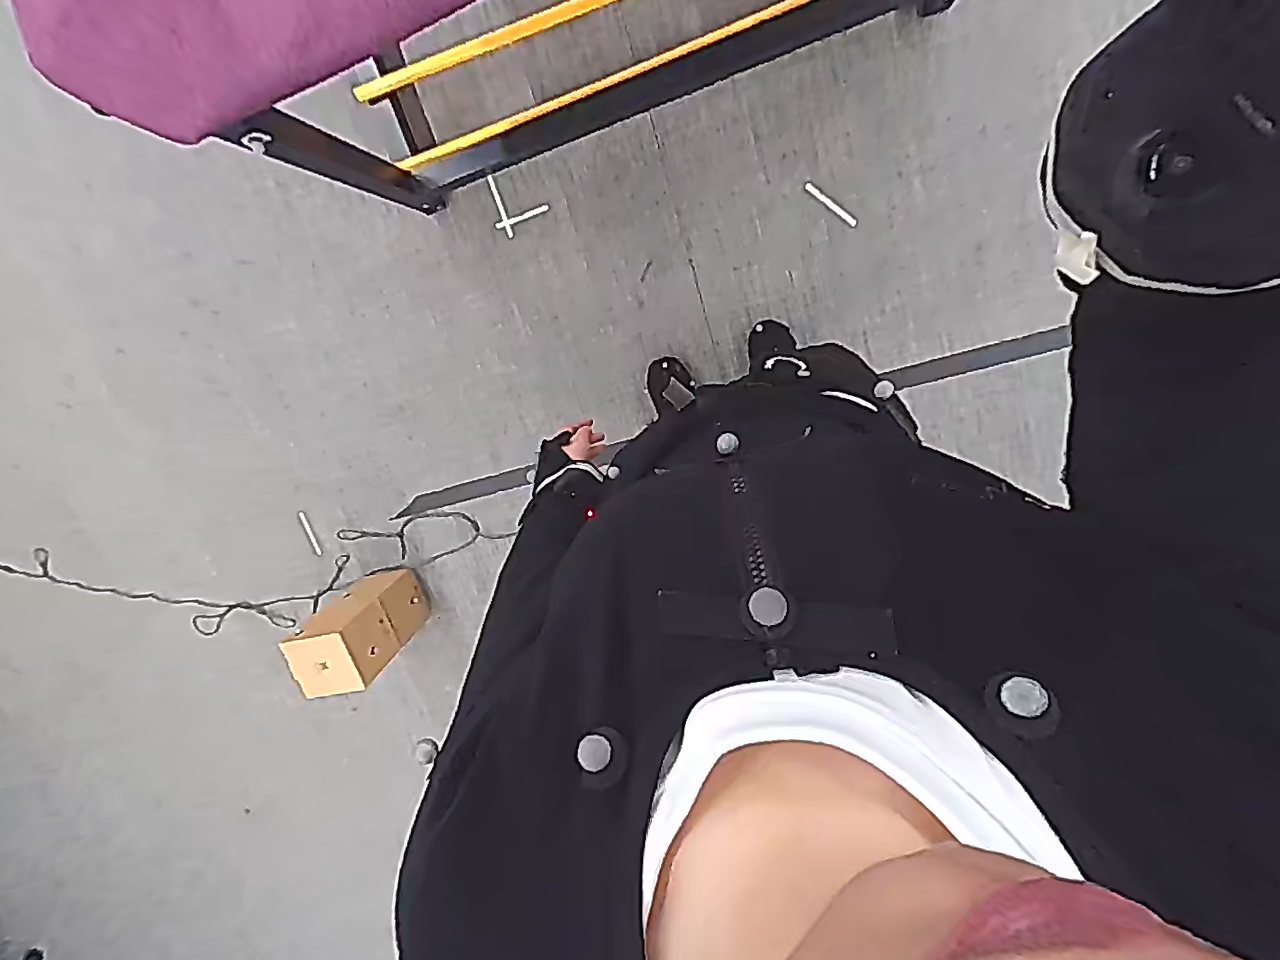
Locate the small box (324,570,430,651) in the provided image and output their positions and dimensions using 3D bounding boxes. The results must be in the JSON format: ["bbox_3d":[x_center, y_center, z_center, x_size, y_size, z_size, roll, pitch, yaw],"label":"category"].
[{"bbox_3d":[-0.731,0.372,1.520,0.179,0.176,0.168,-13,107,11],"label":"small box"}]

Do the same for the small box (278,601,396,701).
[{"bbox_3d":[-0.749,0.424,1.367,0.179,0.176,0.168,-13,106,12],"label":"small box"}]
